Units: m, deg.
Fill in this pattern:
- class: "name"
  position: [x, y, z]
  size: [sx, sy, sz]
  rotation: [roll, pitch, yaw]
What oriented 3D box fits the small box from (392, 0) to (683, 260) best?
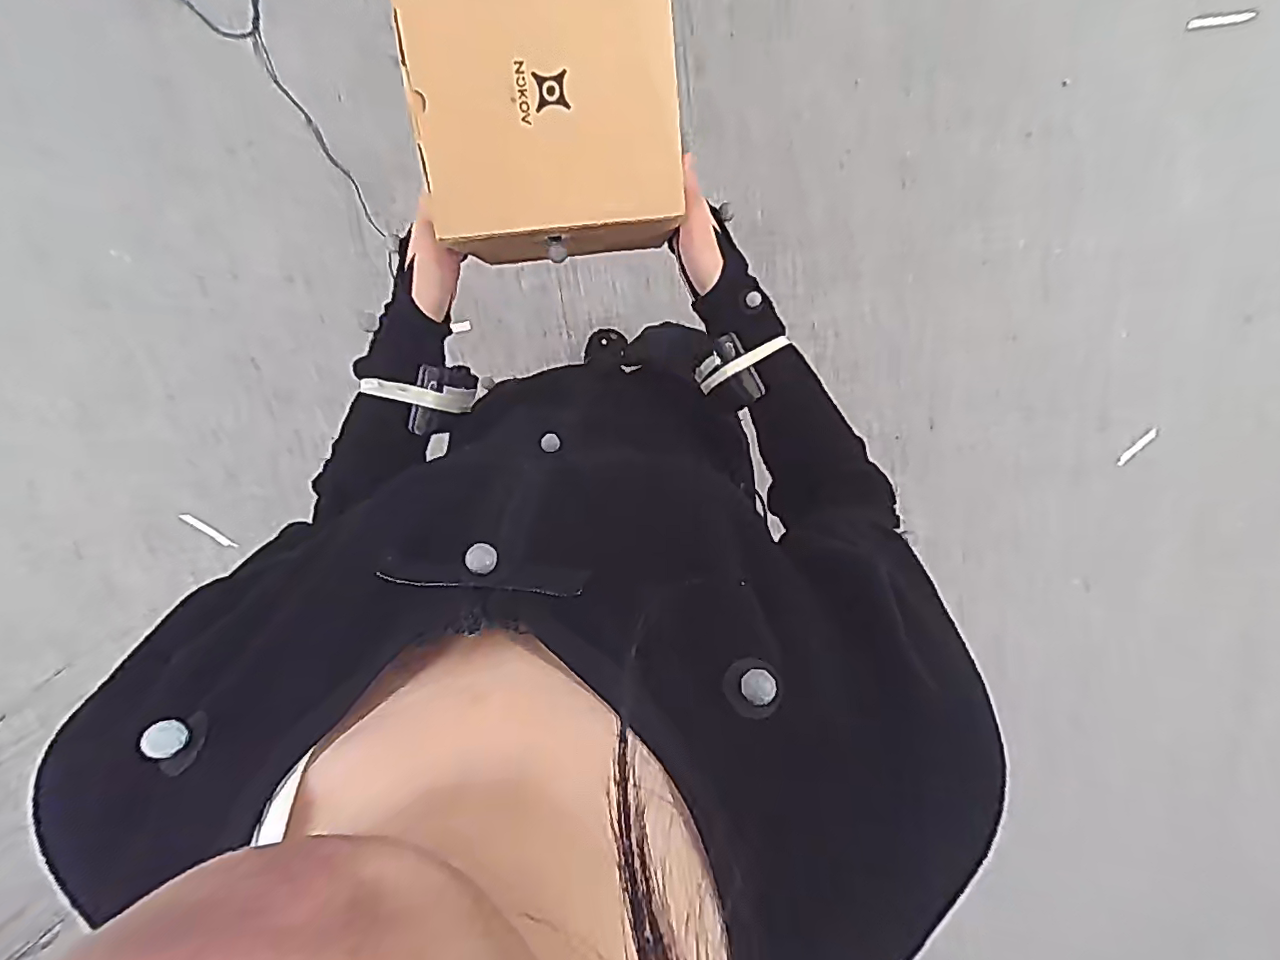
- class: "small box"
  position: [-0.066, -0.277, 0.431]
  size: [0.179, 0.176, 0.168]
  rotation: [-6, 107, 1]
